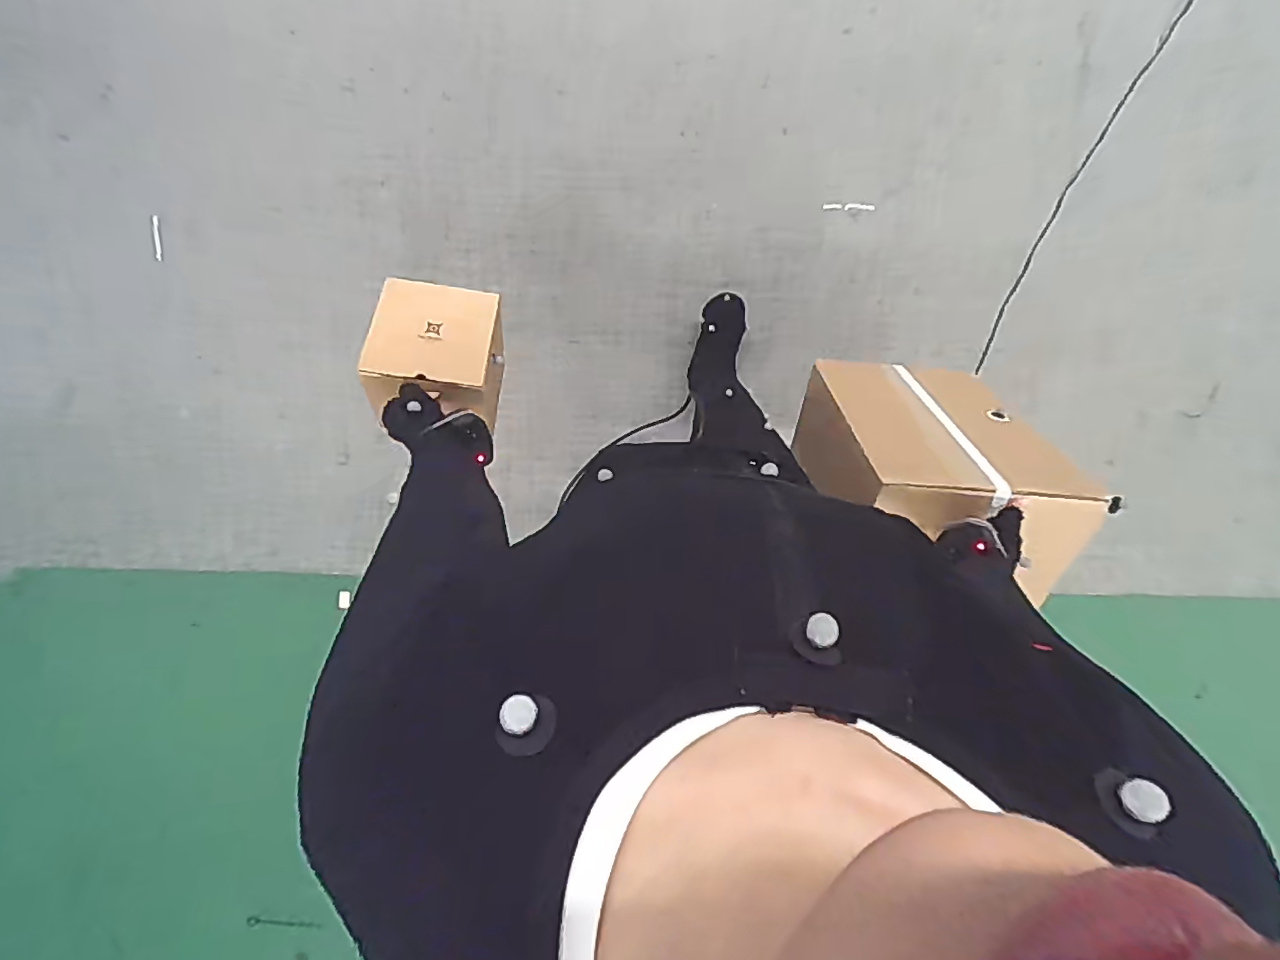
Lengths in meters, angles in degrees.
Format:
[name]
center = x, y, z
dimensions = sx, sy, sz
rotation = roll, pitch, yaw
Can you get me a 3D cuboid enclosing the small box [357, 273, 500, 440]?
[small box]
center = -0.314, -0.186, 0.843
dimensions = 0.168, 0.176, 0.179
rotation = 6, 64, -9
